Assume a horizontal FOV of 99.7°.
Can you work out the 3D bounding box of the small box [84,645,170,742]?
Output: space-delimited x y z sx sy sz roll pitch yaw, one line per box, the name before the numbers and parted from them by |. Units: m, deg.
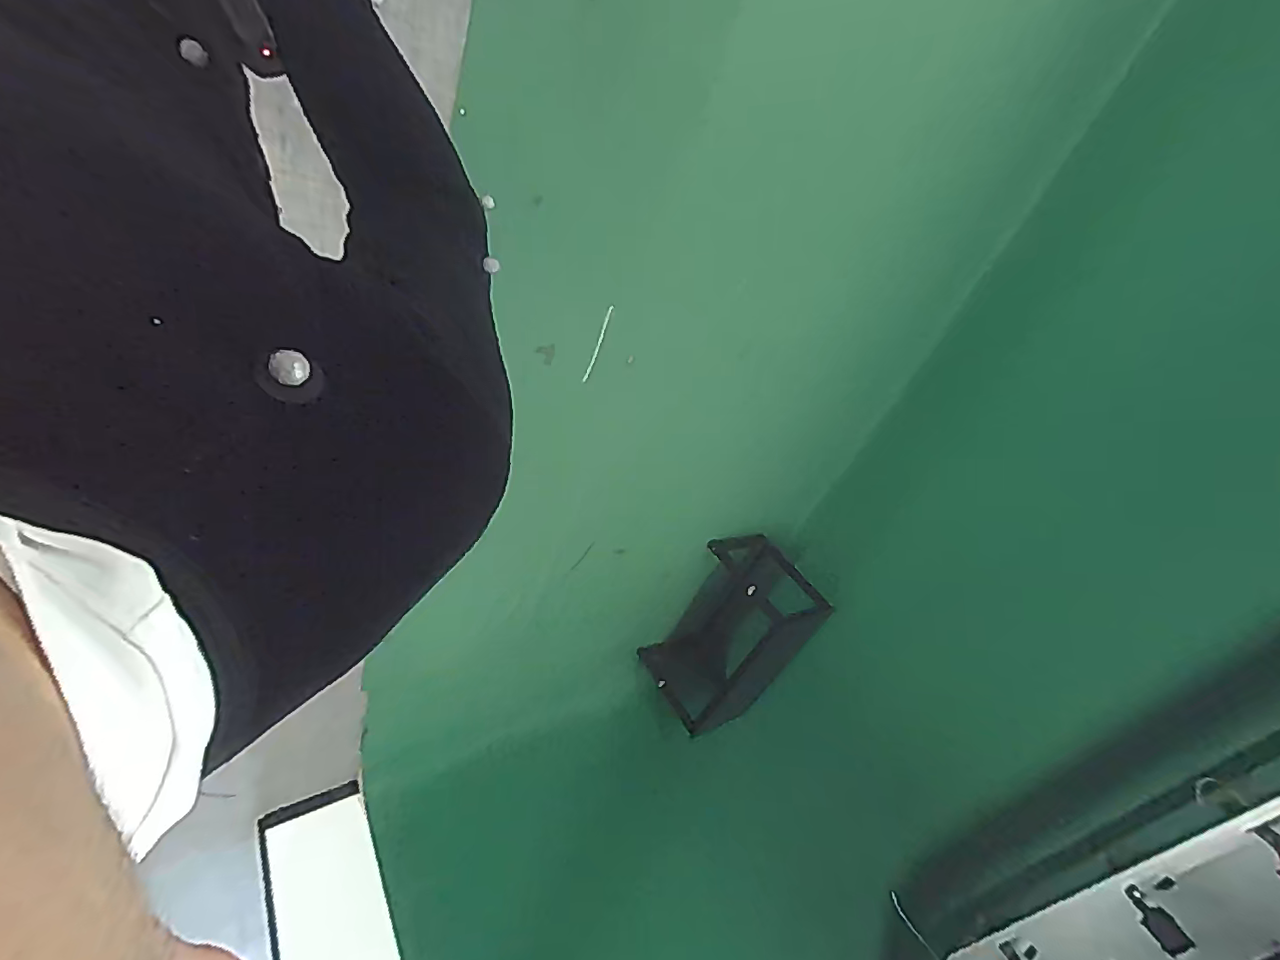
small box | -1.458 0.604 1.546 0.168 0.176 0.179 -3 131 -39
